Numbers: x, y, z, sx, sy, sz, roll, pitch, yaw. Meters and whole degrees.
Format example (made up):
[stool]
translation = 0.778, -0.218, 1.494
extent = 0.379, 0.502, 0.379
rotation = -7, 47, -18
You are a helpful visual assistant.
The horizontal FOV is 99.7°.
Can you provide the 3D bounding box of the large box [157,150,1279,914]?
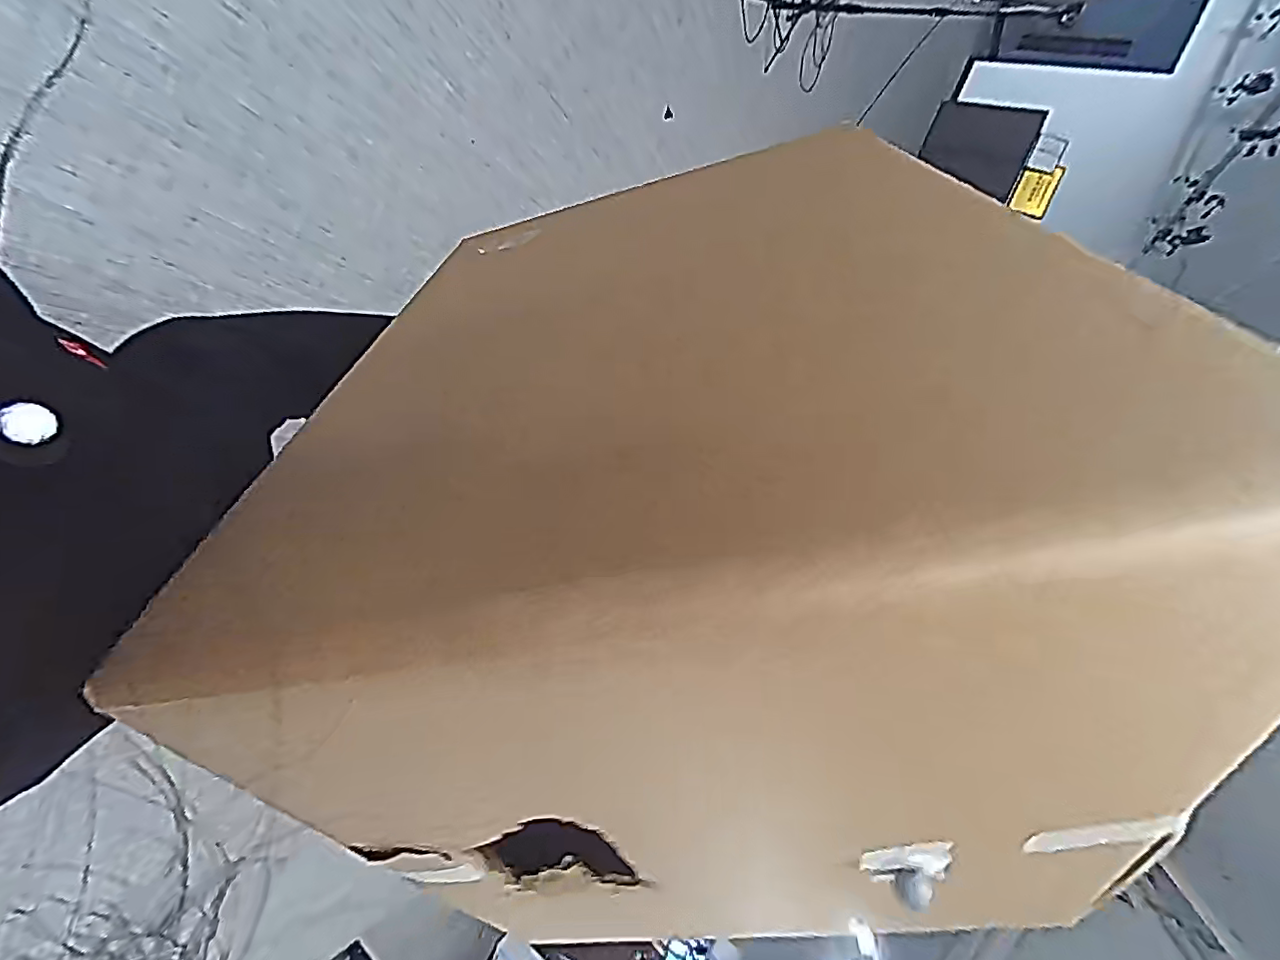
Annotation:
[large box]
translation = 0.039, 0.012, 0.378
extent = 0.408, 0.320, 0.320
rotation = -89, 165, -50
